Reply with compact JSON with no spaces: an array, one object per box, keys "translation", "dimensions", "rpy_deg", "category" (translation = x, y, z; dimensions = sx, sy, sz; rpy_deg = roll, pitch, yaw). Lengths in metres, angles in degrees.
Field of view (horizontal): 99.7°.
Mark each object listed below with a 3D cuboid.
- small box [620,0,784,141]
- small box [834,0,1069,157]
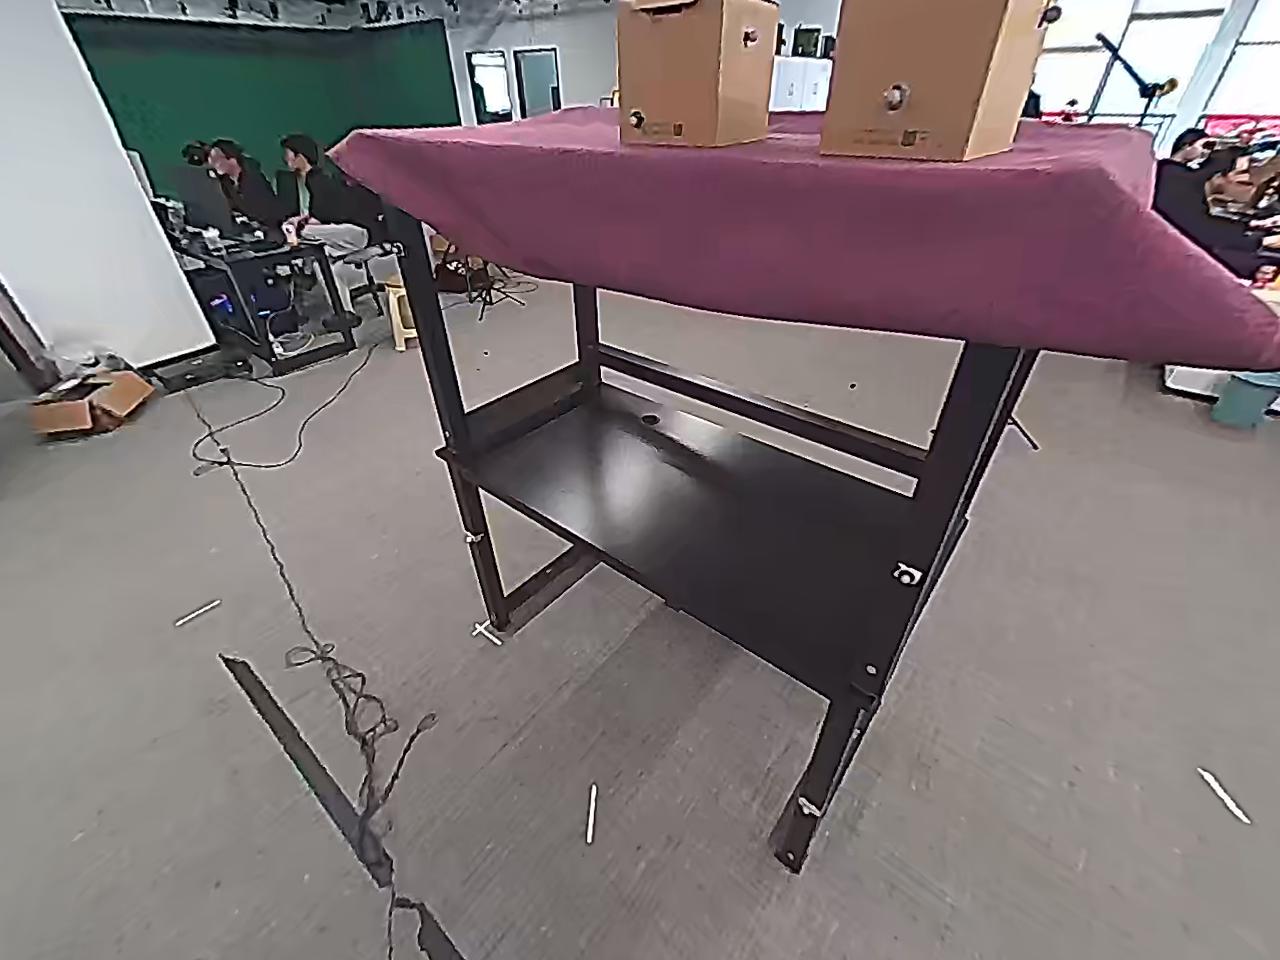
[{"translation":[0.089,-0.590,0.775],"dimensions":[0.168,0.176,0.179],"rpy_deg":[22,41,28],"category":"small box"},{"translation":[0.334,-0.462,0.591],"dimensions":[0.168,0.176,0.179],"rpy_deg":[28,44,35],"category":"small box"}]
